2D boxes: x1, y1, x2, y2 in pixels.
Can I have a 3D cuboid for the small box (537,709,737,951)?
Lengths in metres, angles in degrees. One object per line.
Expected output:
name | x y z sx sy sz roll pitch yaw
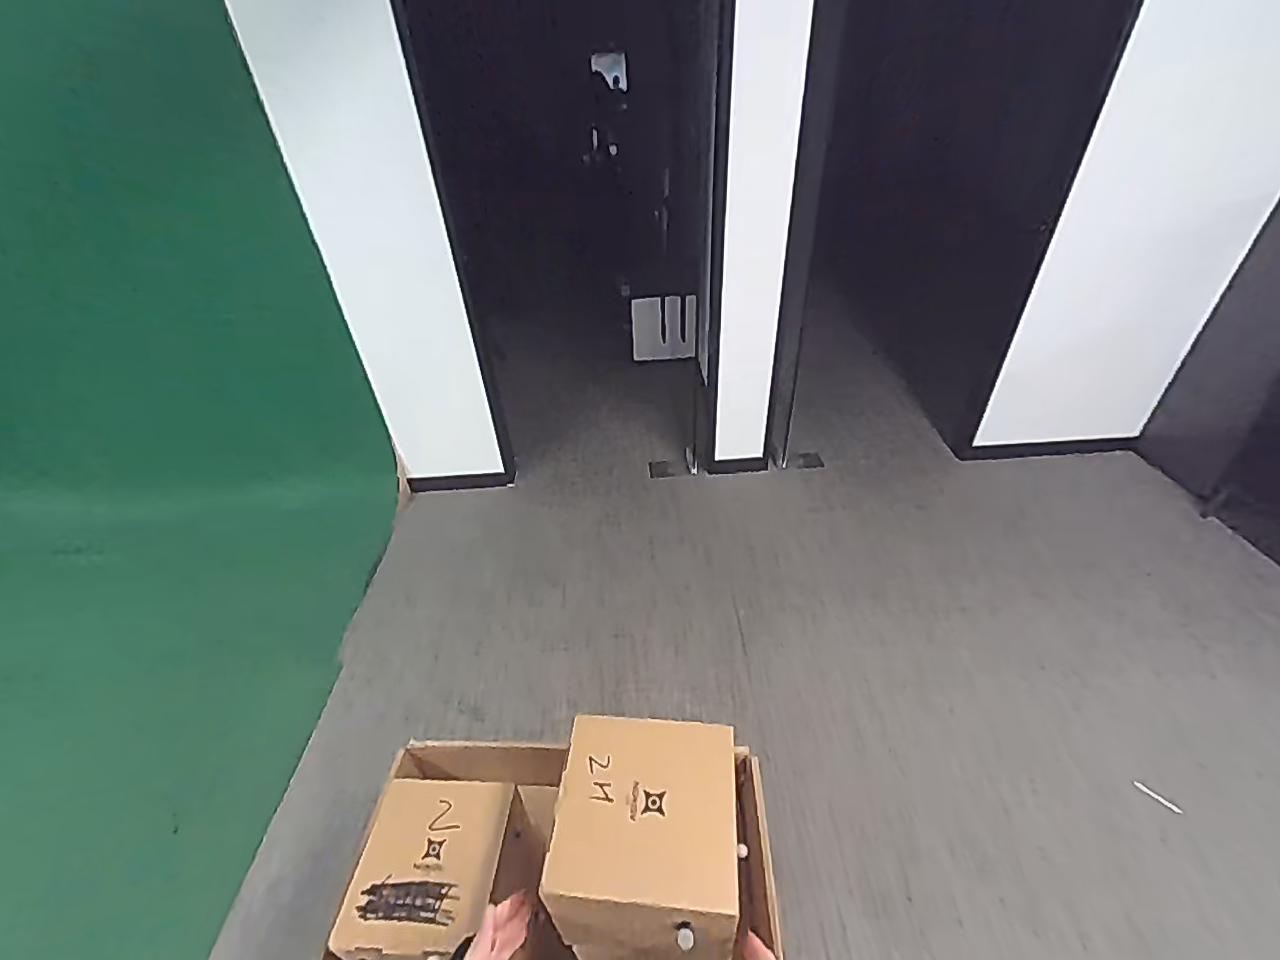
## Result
small box | 0.010 0.371 0.577 0.179 0.176 0.168 1 37 8

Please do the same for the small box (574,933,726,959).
small box | 0.020 0.499 0.681 0.168 0.176 0.179 0 38 6
